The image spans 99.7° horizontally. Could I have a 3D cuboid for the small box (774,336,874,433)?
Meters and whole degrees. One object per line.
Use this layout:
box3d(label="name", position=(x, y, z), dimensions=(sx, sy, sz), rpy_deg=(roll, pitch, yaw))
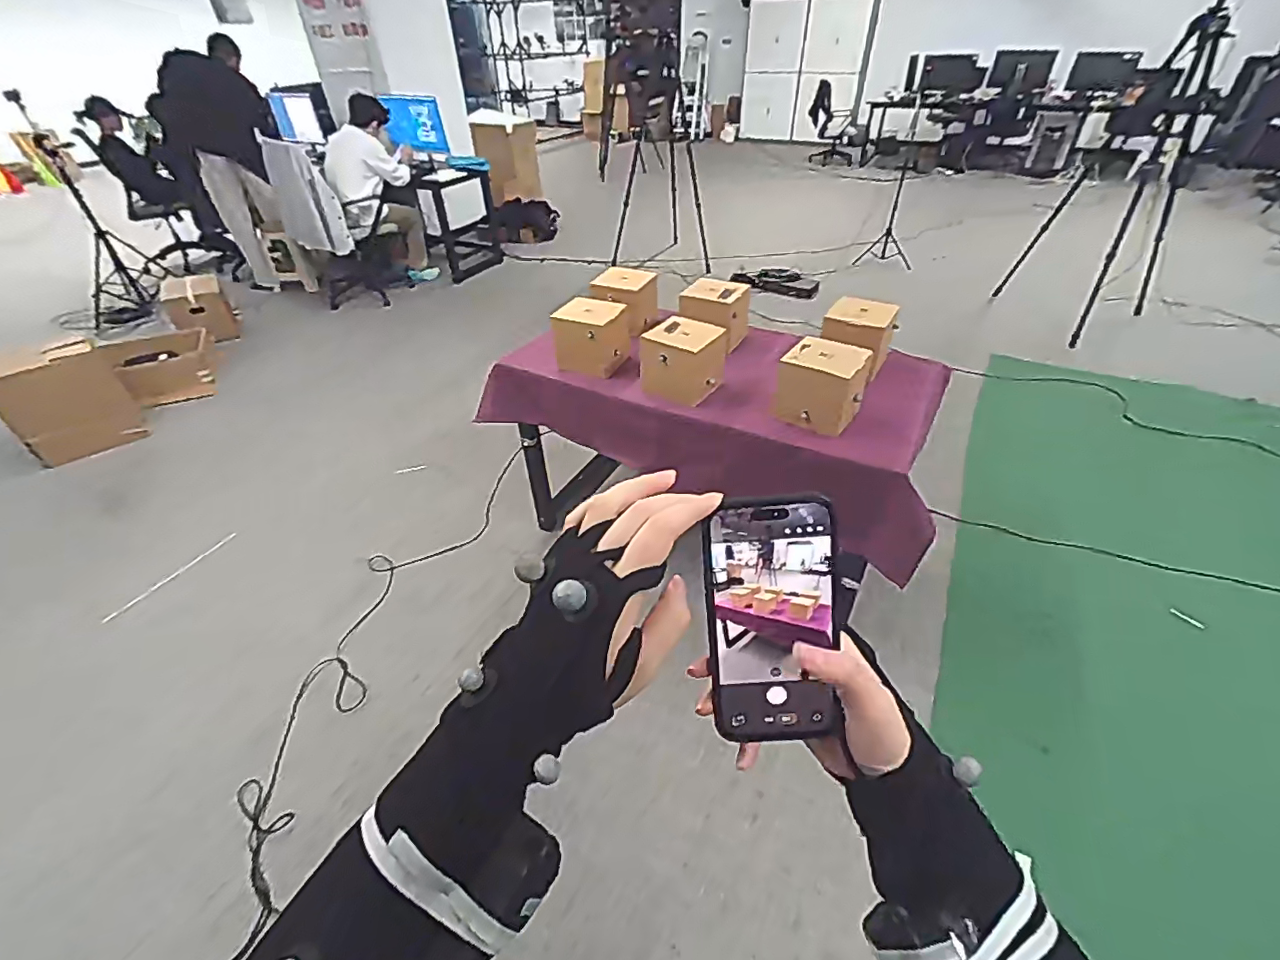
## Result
box3d(label="small box", position=(0.461, -0.240, 1.372), dimensions=(0.179, 0.176, 0.168), rpy_deg=(25, 46, 28))

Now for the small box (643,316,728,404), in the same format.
box3d(label="small box", position=(0.123, -0.331, 1.496), dimensions=(0.179, 0.176, 0.168), rpy_deg=(24, 46, 27))

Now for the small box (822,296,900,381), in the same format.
box3d(label="small box", position=(0.630, -0.412, 1.573), dimensions=(0.168, 0.176, 0.179), rpy_deg=(21, 46, 26))

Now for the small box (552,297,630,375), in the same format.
box3d(label="small box", position=(-0.142, -0.432, 1.629), dimensions=(0.179, 0.176, 0.168), rpy_deg=(16, 42, 18))
